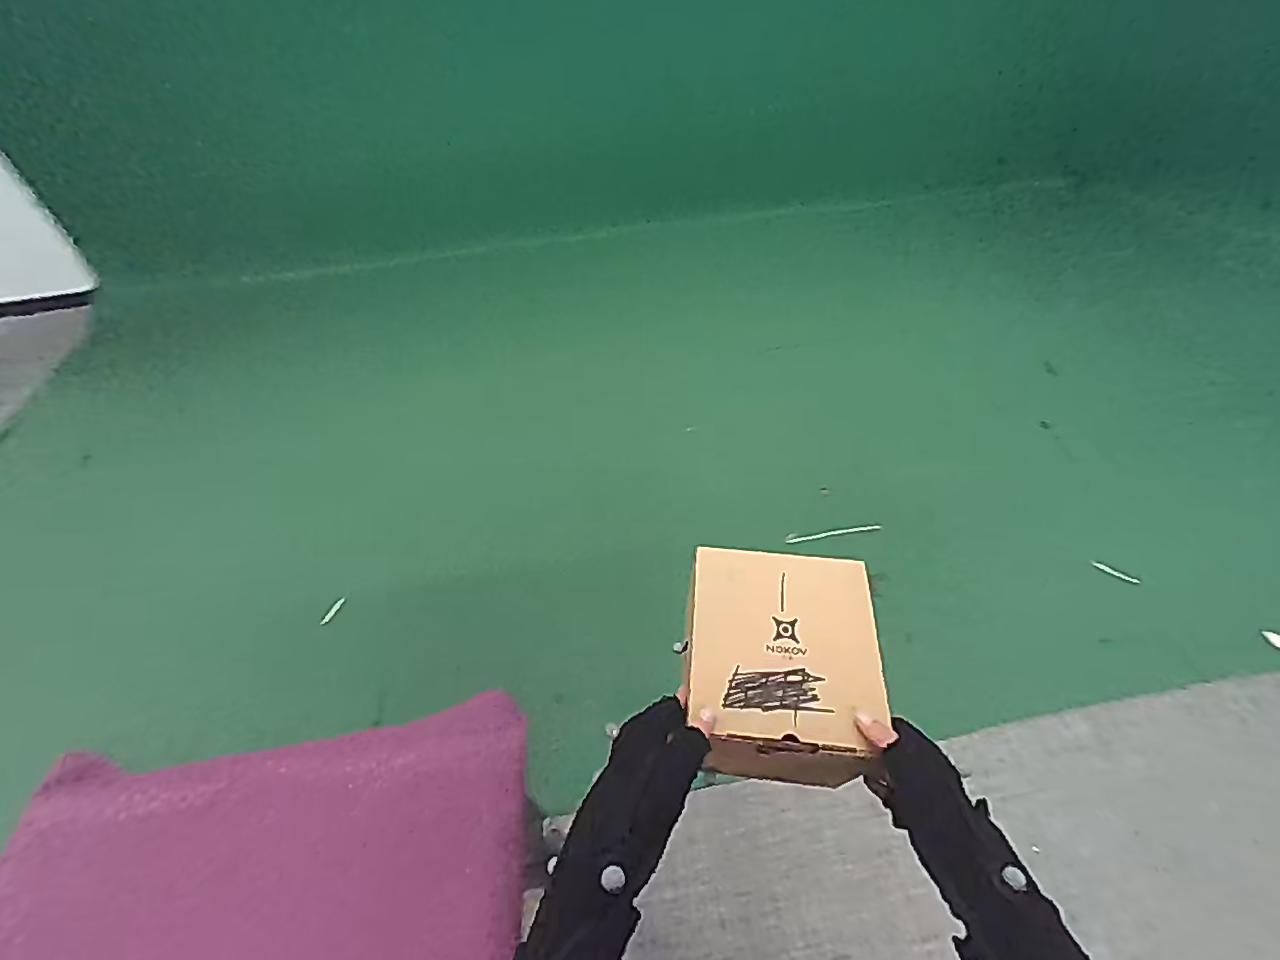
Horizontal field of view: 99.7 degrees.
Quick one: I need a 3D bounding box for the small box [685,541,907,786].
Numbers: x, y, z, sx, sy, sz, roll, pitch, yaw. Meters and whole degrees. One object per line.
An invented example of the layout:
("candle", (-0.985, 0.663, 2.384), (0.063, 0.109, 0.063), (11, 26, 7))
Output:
("small box", (0.140, 0.187, 0.536), (0.168, 0.176, 0.179), (10, 55, 4))
